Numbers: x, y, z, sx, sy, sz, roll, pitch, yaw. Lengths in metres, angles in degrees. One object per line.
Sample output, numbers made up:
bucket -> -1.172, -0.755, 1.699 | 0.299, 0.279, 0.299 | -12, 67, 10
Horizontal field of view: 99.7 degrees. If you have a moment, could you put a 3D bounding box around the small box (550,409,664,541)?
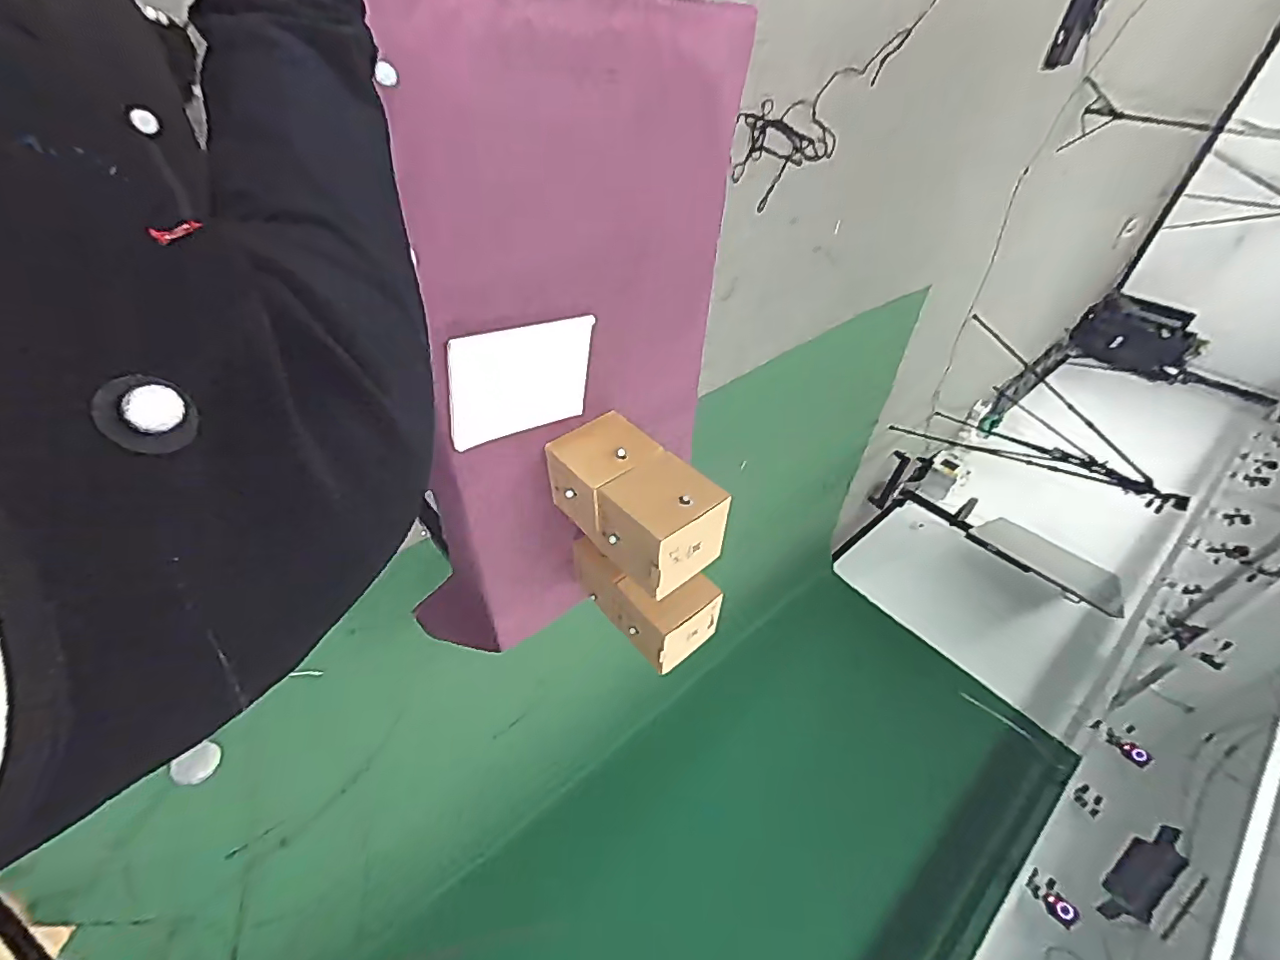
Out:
small box -> -0.070, -0.015, 1.101 | 0.179, 0.176, 0.168 | -31, 142, -28

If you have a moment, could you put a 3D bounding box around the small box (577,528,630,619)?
small box -> -0.045, 0.201, 1.336 | 0.179, 0.176, 0.168 | -29, 141, -30

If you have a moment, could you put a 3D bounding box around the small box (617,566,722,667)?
small box -> 0.060, 0.284, 1.242 | 0.179, 0.176, 0.168 | -28, 141, -29

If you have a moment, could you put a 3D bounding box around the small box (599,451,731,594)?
small box -> 0.041, 0.071, 1.015 | 0.179, 0.176, 0.168 | -29, 140, -30
